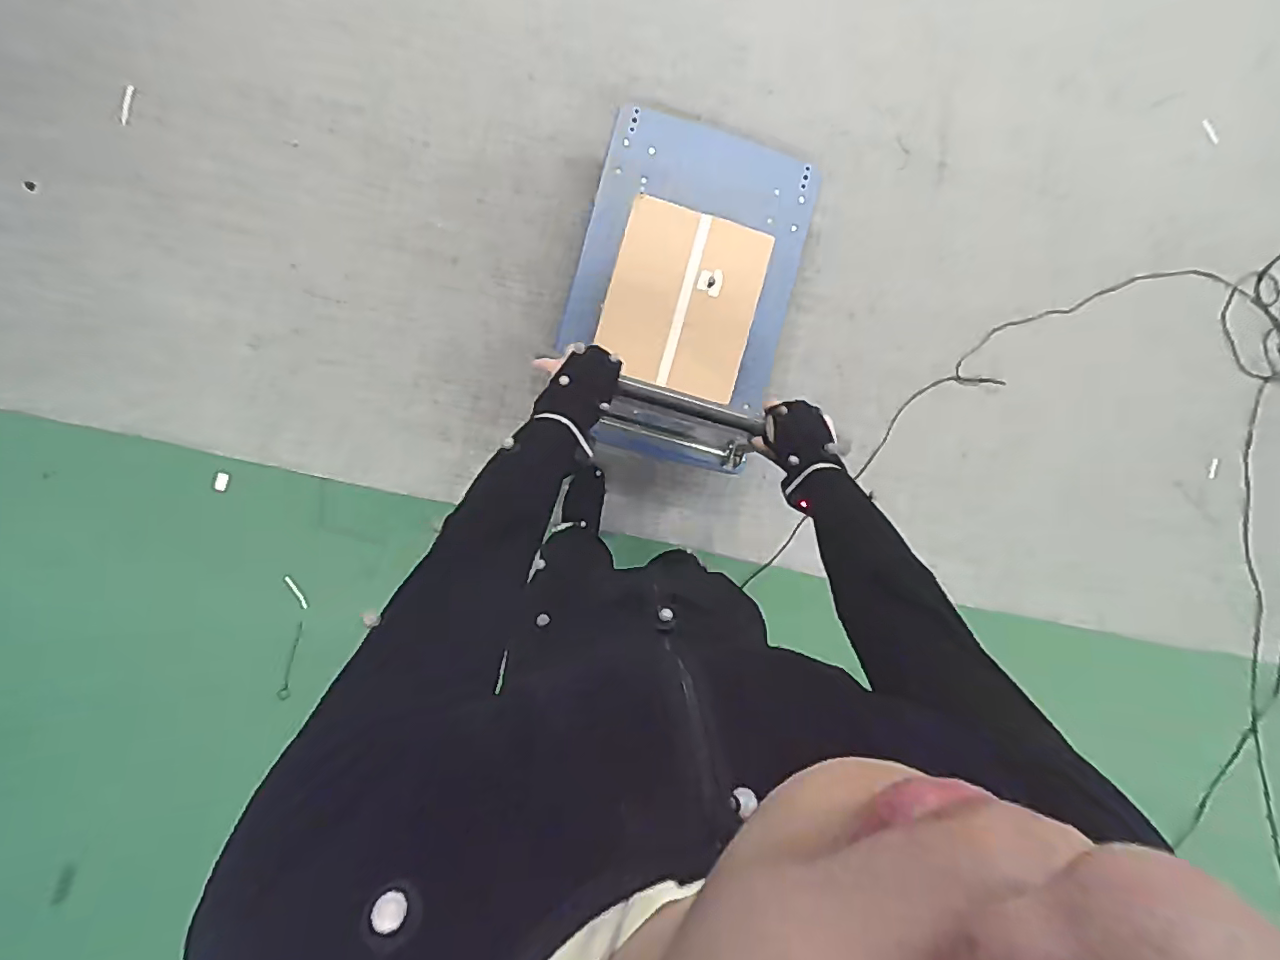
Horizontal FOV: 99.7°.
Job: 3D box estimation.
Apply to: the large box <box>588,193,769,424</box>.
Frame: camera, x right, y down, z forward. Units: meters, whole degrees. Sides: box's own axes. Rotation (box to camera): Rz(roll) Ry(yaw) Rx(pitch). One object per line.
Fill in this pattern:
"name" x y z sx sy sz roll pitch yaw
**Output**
"large box" 0.072 -0.375 1.294 0.320 0.320 0.408 16 88 -6
